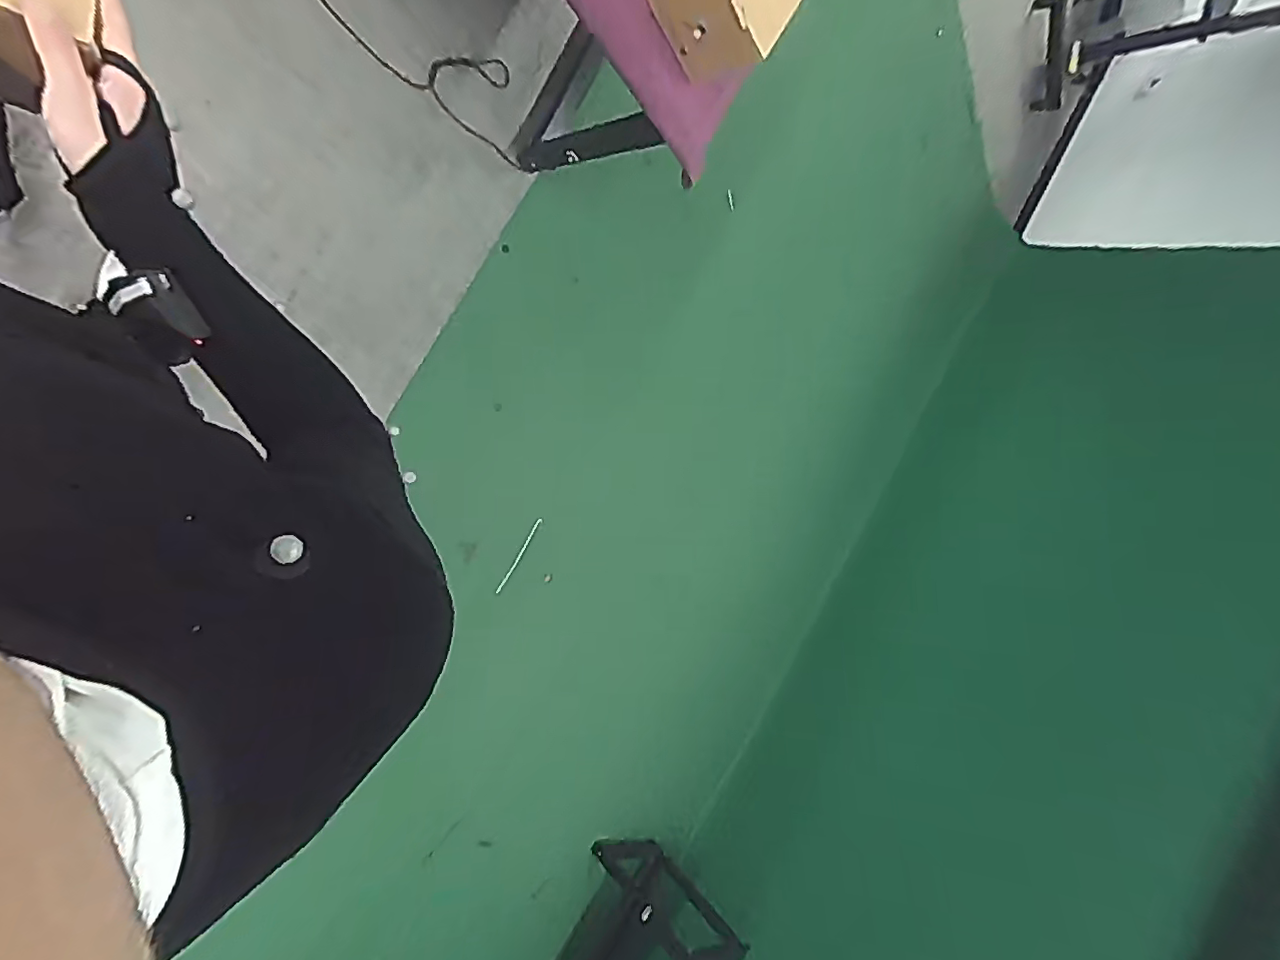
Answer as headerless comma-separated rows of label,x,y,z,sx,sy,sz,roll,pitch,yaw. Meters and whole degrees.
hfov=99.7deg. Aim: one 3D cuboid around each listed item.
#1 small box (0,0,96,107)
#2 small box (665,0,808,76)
small box,-0.504,-0.416,0.385,0.168,0.176,0.179,4,92,-49
small box,0.162,-0.834,0.913,0.168,0.176,0.179,38,81,-43
